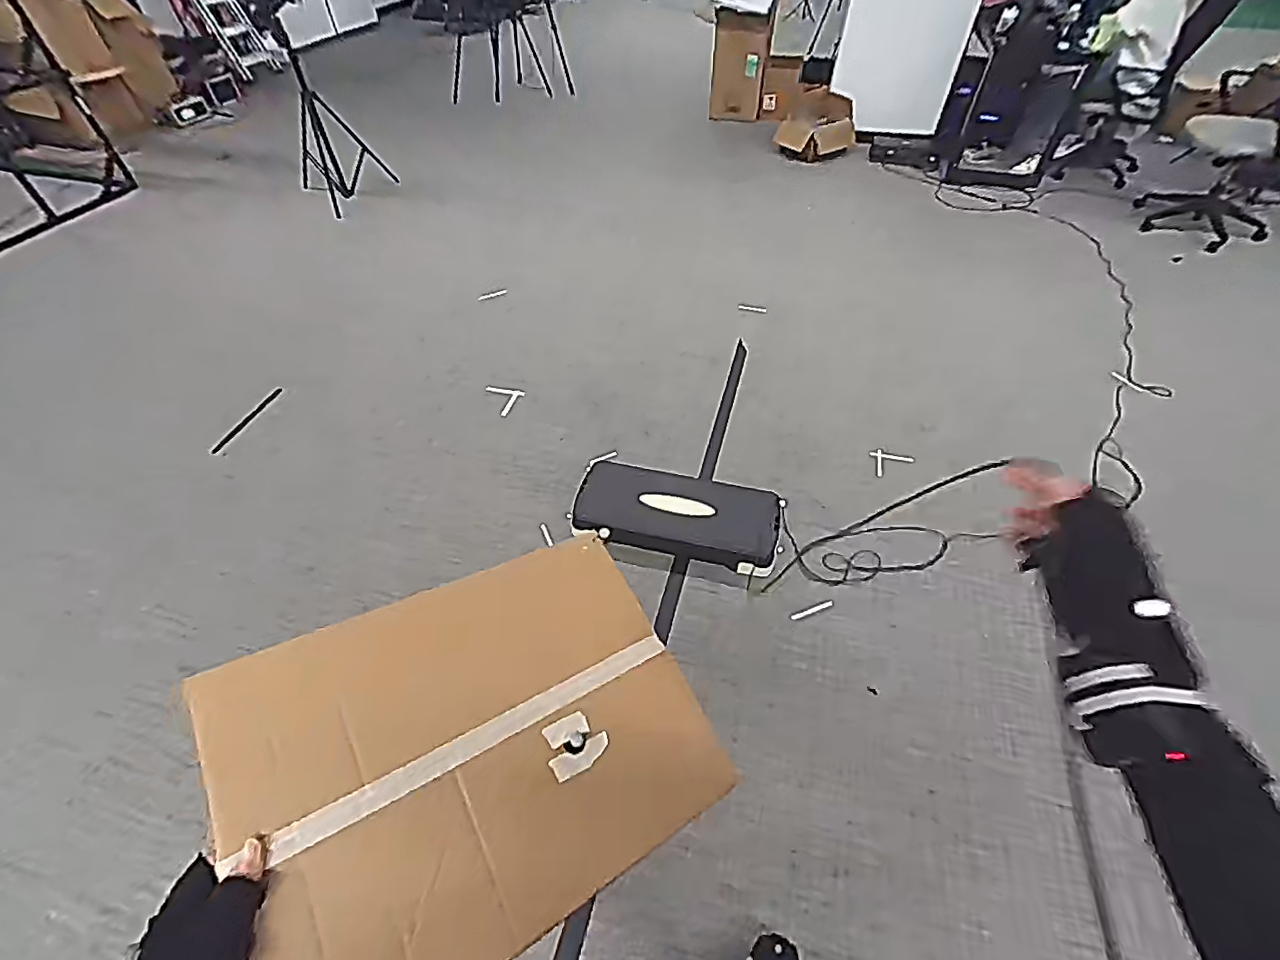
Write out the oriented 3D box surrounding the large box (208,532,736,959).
[{"bbox_3d":[-0.179,0.321,0.617,0.408,0.320,0.320,-18,63,-32],"label":"large box"}]
